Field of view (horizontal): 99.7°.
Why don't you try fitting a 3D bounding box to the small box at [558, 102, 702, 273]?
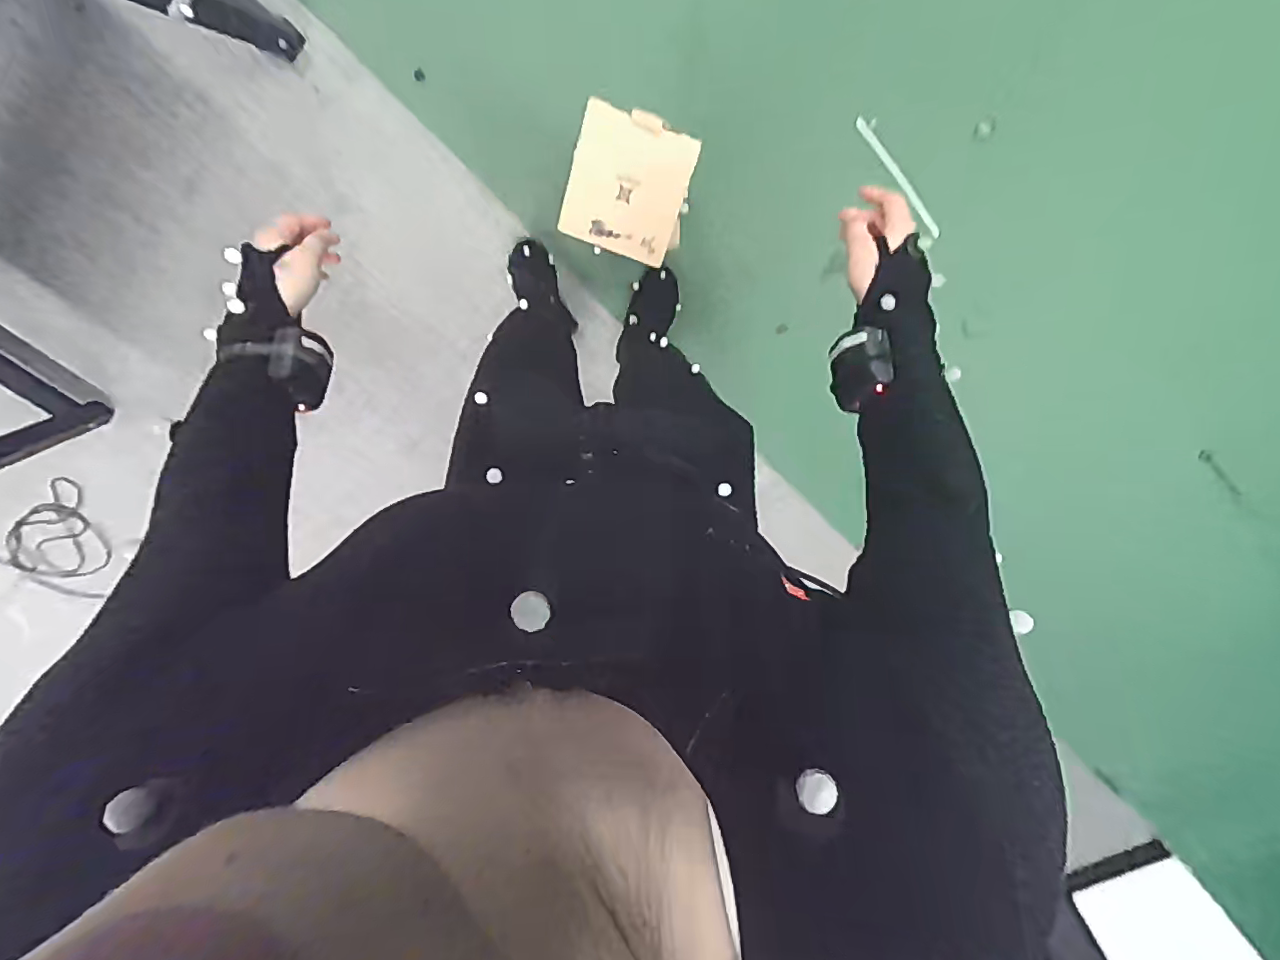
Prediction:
[{"bbox_3d":[-0.016,-0.446,0.841,0.168,0.176,0.179,18,117,-7],"label":"small box"}]
